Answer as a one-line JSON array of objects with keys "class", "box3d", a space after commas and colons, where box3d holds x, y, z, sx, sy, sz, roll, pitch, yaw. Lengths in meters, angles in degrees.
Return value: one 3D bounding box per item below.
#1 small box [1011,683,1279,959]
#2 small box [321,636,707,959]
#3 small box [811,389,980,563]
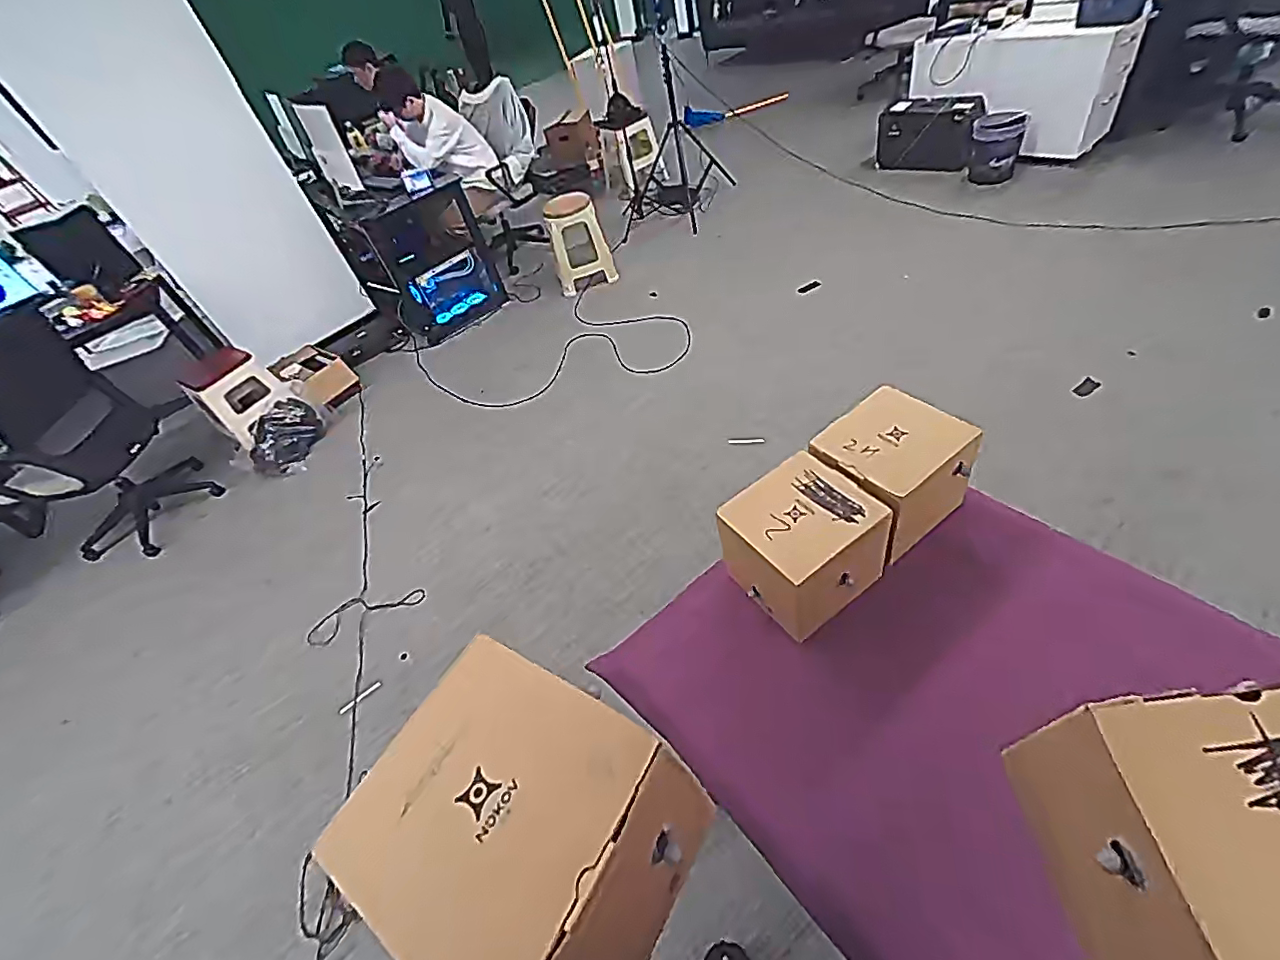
[{"class": "small box", "box3d": [0.364, 0.234, 0.321, 0.168, 0.176, 0.179, -11, 54, 9]}, {"class": "small box", "box3d": [-0.070, 0.250, 0.390, 0.179, 0.176, 0.168, 15, 54, 33]}, {"class": "small box", "box3d": [0.387, -0.007, 0.852, 0.179, 0.176, 0.168, -34, 47, -15]}]
